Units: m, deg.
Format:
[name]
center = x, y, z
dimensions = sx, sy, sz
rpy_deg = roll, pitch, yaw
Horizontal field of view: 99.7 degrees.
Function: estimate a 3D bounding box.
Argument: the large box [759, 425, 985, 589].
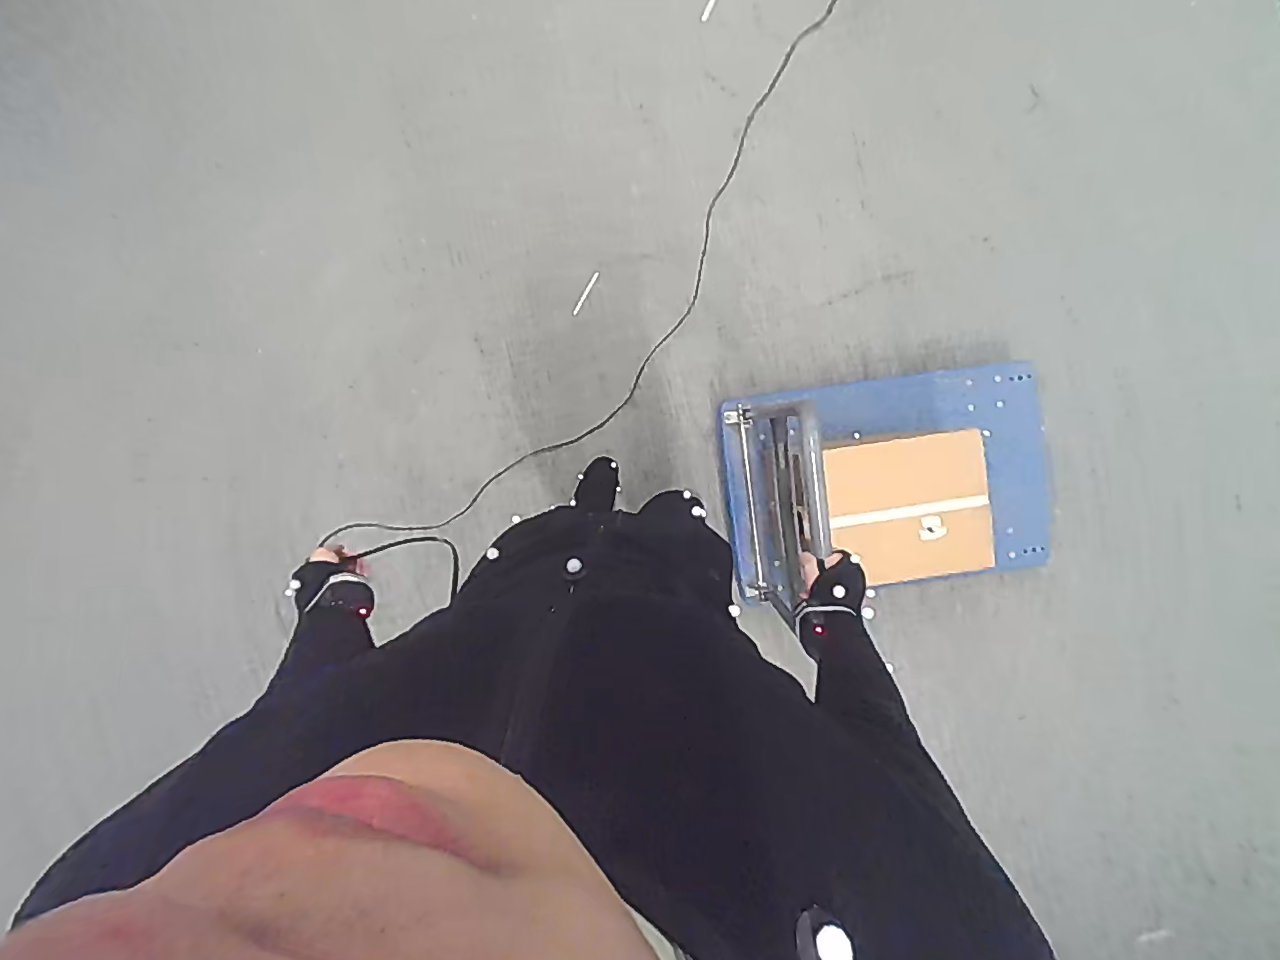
[large box]
center = 0.545, 0.053, 1.337
dimensions = 0.408, 0.320, 0.320
rpy_deg = -8, 95, -2
